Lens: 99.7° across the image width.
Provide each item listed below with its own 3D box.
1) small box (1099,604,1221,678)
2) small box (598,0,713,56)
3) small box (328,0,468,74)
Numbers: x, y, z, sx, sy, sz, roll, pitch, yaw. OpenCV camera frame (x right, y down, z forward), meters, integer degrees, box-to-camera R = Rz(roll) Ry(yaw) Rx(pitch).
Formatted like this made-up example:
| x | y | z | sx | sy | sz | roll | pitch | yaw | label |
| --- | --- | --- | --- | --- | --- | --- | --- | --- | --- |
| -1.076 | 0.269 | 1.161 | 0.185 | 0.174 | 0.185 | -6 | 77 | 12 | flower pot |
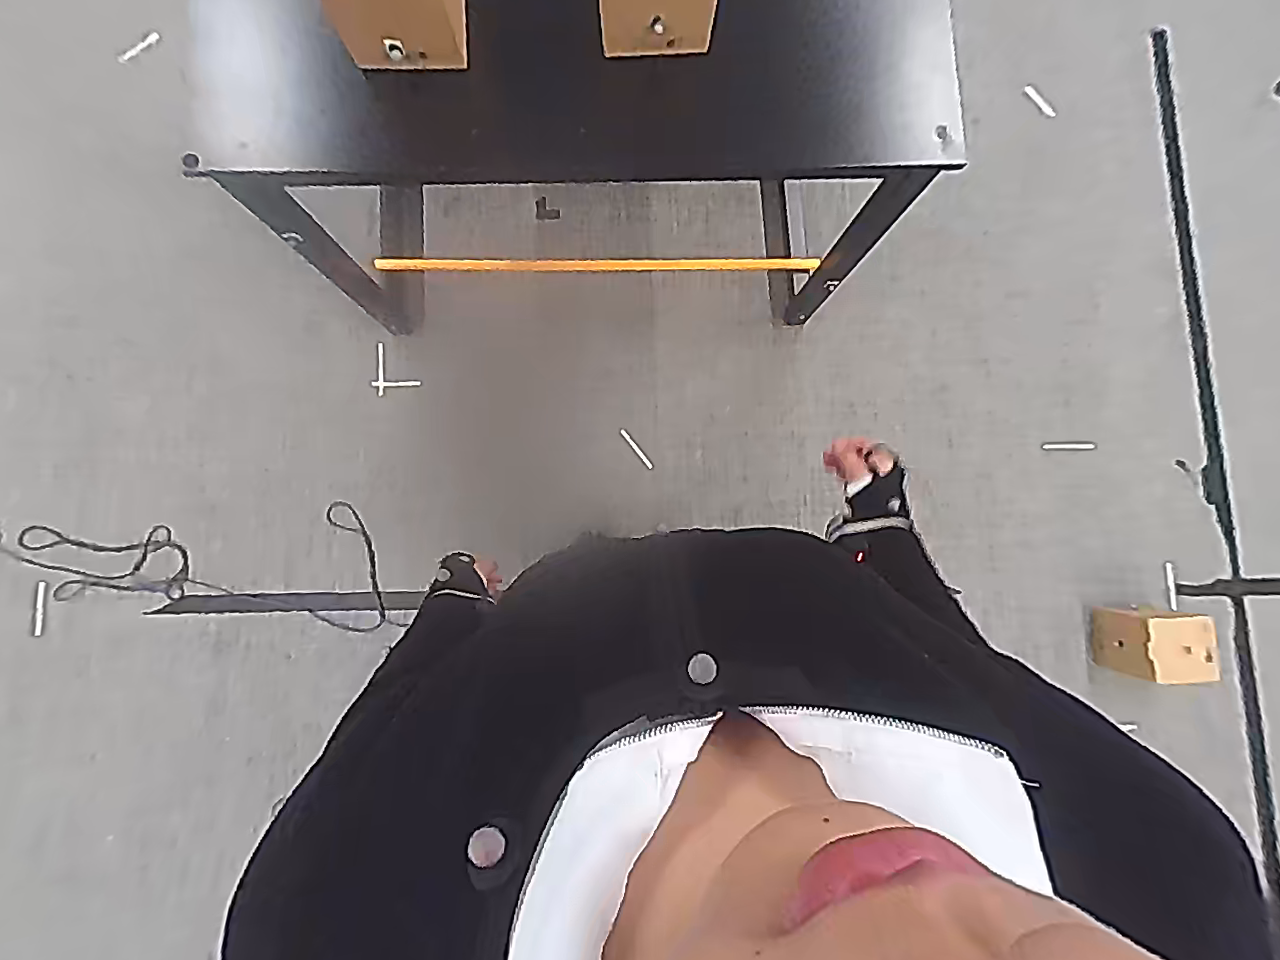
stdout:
| x | y | z | sx | sy | sz | roll | pitch | yaw | label |
| --- | --- | --- | --- | --- | --- | --- | --- | --- | --- |
| 1.387 | 0.429 | 1.458 | 0.179 | 0.176 | 0.168 | -2 | 85 | -1 | small box |
| 0.018 | -0.768 | 0.785 | 0.168 | 0.176 | 0.179 | -5 | 85 | -2 | small box |
| -0.352 | -0.727 | 0.770 | 0.168 | 0.176 | 0.179 | -4 | 86 | -1 | small box |
